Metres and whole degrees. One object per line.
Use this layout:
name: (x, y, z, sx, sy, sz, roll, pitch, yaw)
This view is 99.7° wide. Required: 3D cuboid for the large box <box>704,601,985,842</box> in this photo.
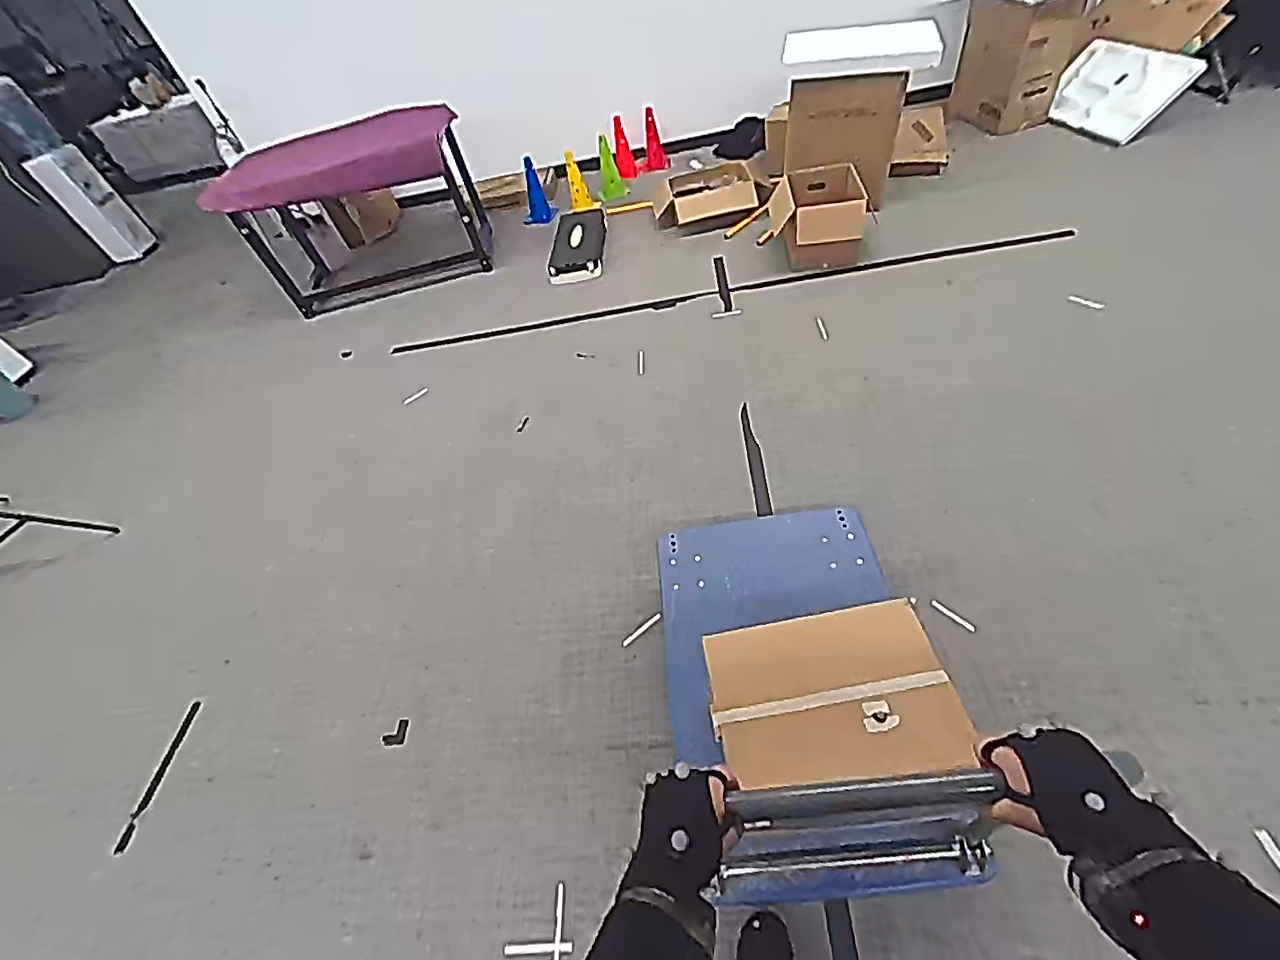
large box: (0.363, 0.486, 1.074, 0.408, 0.320, 0.320, -12, 49, 3)
